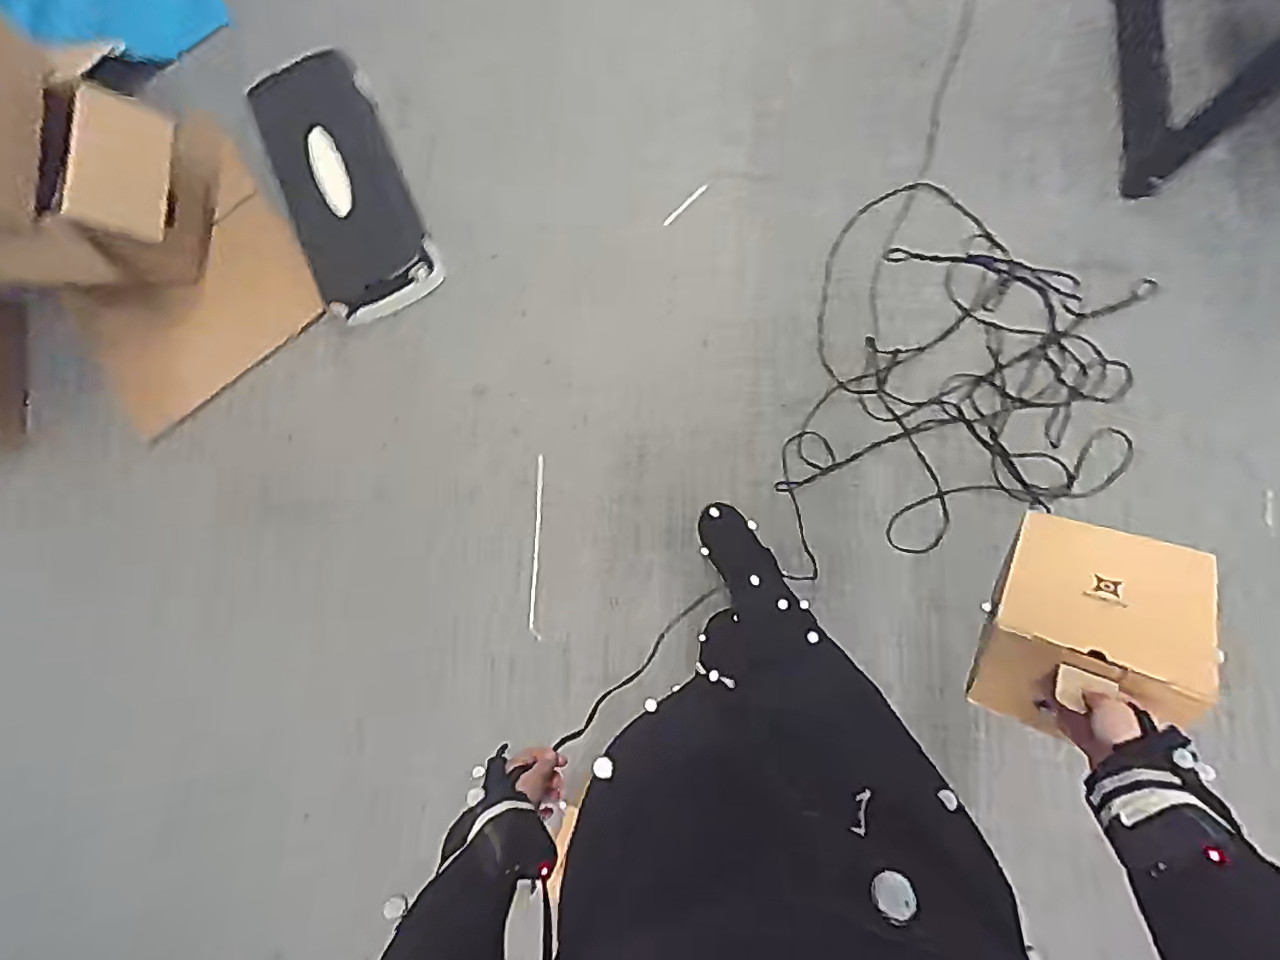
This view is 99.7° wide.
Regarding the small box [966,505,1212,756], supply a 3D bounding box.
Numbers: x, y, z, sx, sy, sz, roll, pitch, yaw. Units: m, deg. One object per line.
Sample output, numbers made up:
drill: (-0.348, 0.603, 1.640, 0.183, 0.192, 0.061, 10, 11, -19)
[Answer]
small box: (0.486, 0.163, 0.604, 0.168, 0.176, 0.179, 17, 51, 31)
